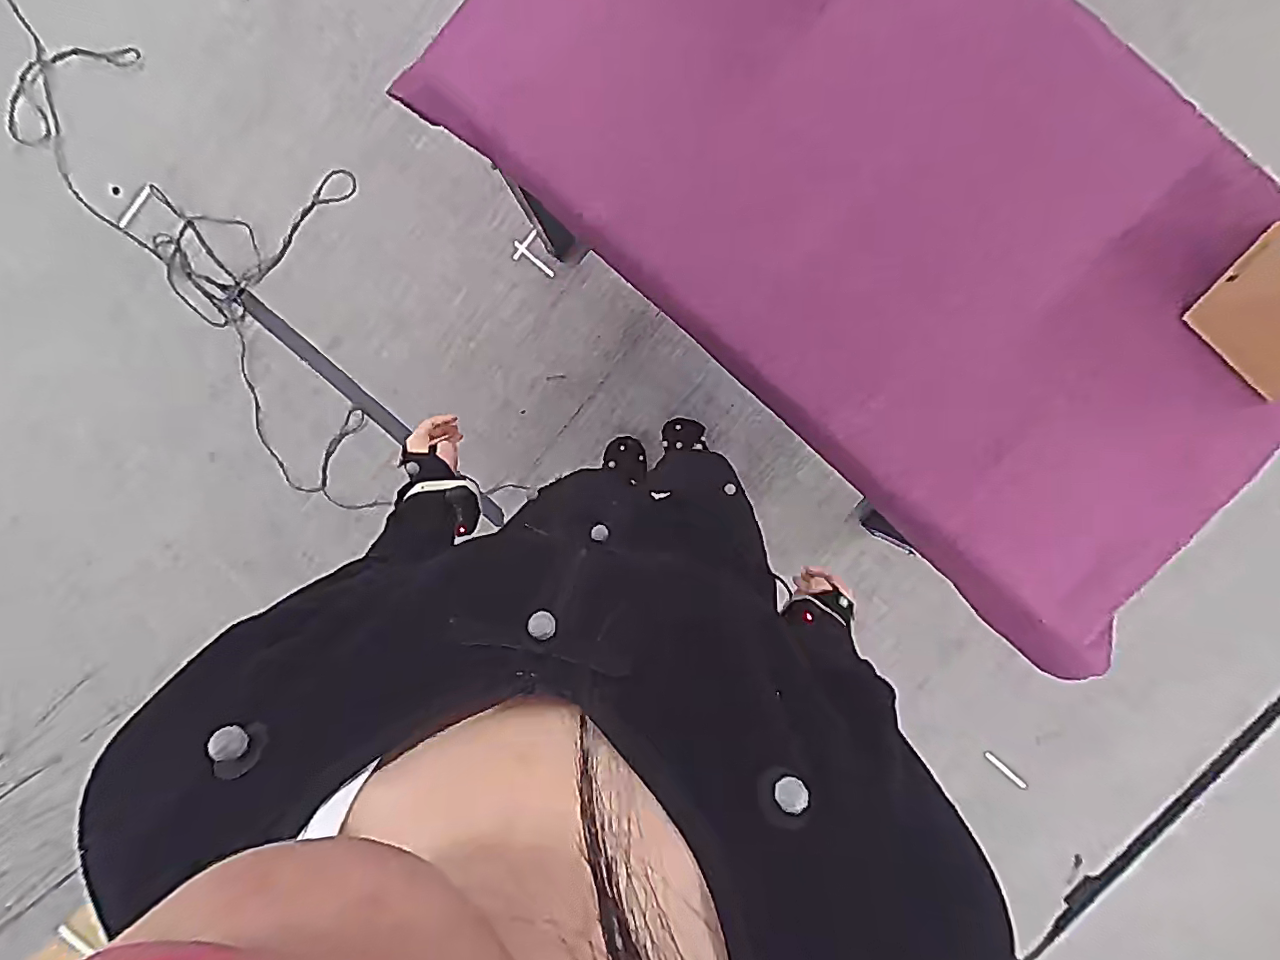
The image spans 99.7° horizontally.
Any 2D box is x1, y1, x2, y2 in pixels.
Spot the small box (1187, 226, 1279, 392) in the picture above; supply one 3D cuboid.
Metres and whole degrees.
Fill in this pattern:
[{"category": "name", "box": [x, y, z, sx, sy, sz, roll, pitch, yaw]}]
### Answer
[{"category": "small box", "box": [0.836, -0.217, 0.643, 0.179, 0.176, 0.168, 42, 96, -4]}]
